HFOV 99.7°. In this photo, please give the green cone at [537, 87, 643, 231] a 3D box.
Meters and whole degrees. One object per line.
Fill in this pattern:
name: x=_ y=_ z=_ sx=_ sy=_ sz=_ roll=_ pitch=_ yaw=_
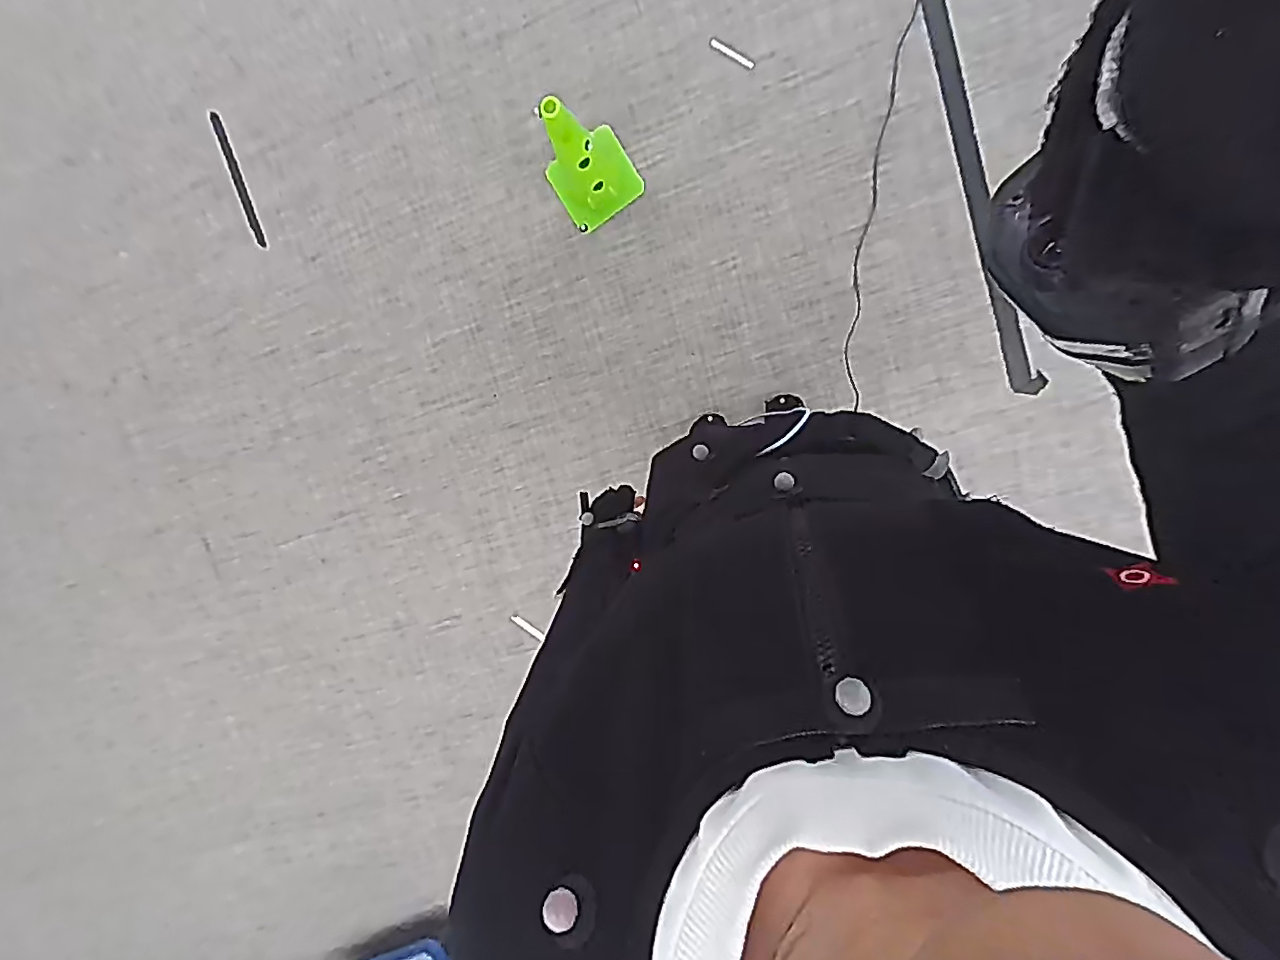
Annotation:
green cone: x=-0.144 y=-0.750 z=1.210 sx=0.200 sy=0.368 sz=0.202 roll=-32 pitch=90 yaw=11
